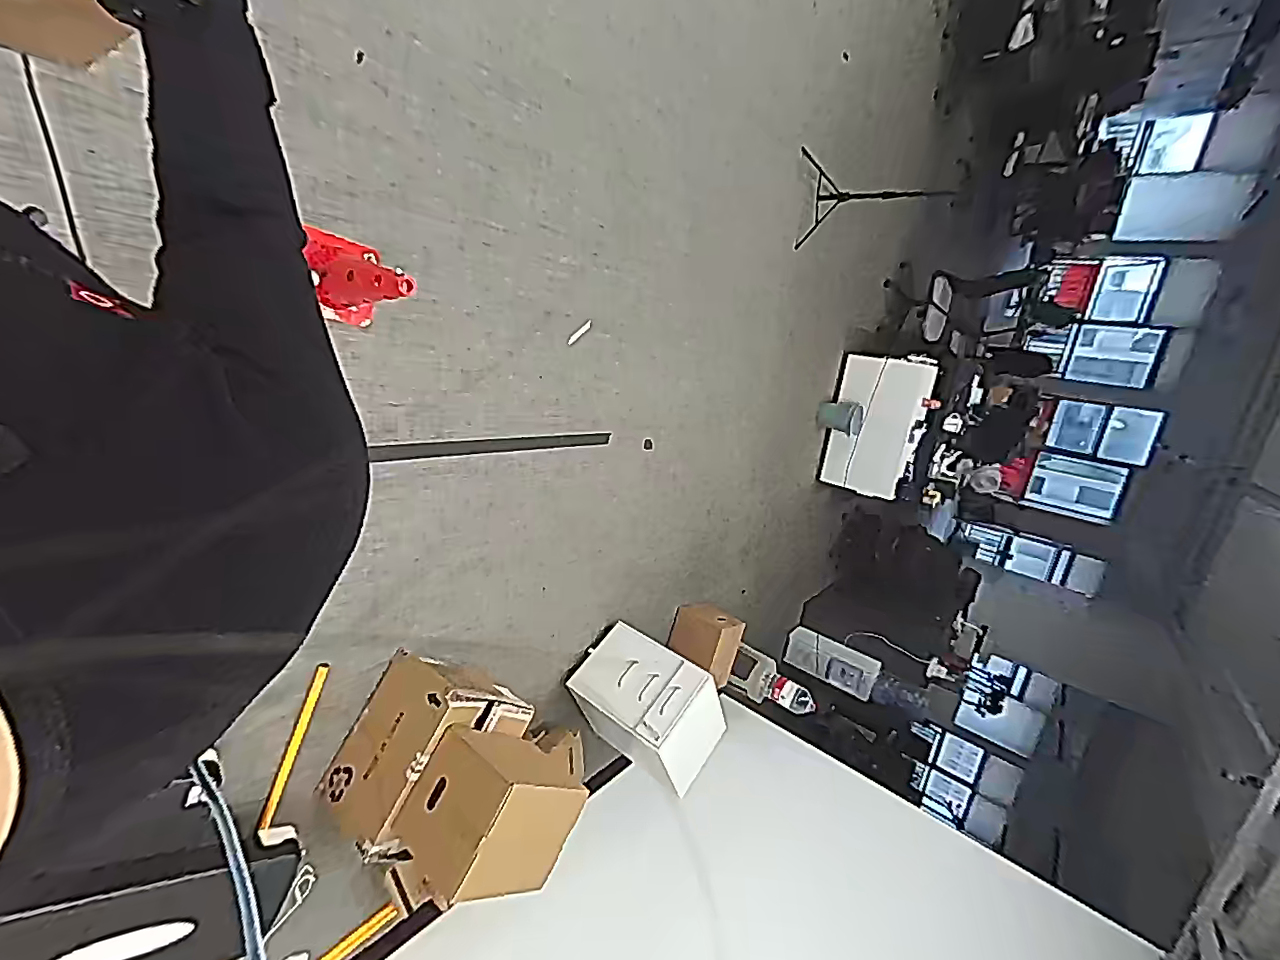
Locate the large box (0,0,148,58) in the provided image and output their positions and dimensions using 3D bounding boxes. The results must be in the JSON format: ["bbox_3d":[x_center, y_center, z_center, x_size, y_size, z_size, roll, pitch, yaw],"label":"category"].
[{"bbox_3d":[-0.555,-0.483,0.260,0.408,0.320,0.320,-14,120,-50],"label":"large box"}]

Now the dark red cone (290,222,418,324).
[{"bbox_3d":[-0.612,-0.450,1.216,0.201,0.394,0.202,1,105,-51],"label":"dark red cone"}]
